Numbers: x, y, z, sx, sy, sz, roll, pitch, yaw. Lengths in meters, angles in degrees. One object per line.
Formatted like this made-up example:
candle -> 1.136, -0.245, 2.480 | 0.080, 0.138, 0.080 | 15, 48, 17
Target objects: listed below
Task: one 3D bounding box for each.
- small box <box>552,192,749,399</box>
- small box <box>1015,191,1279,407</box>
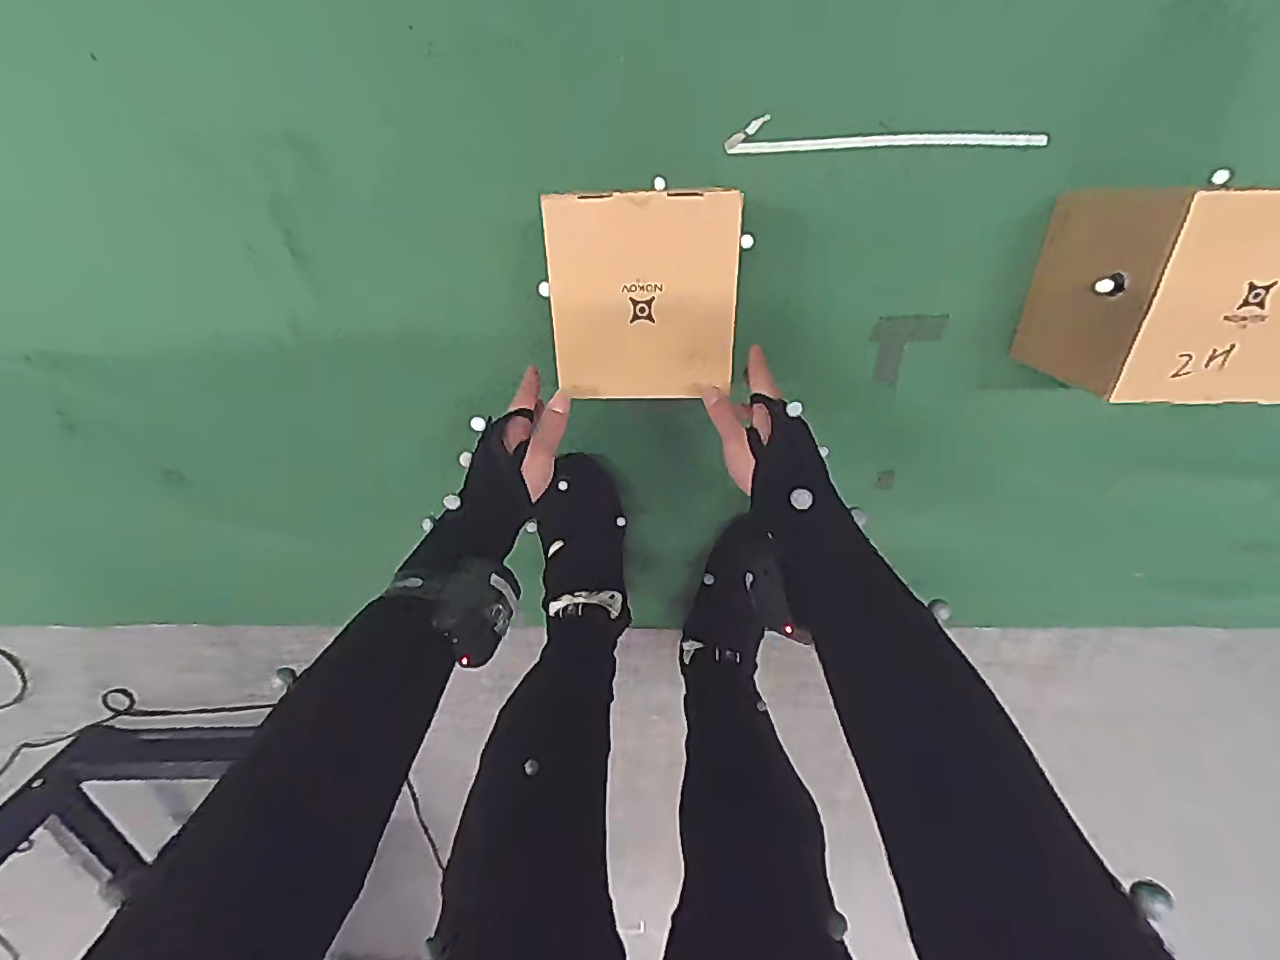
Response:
small box -> 0.013, -0.192, 0.550 | 0.168, 0.176, 0.179 | 0, 116, 3
small box -> 0.516, -0.182, 0.533 | 0.168, 0.176, 0.179 | 1, 117, 2
